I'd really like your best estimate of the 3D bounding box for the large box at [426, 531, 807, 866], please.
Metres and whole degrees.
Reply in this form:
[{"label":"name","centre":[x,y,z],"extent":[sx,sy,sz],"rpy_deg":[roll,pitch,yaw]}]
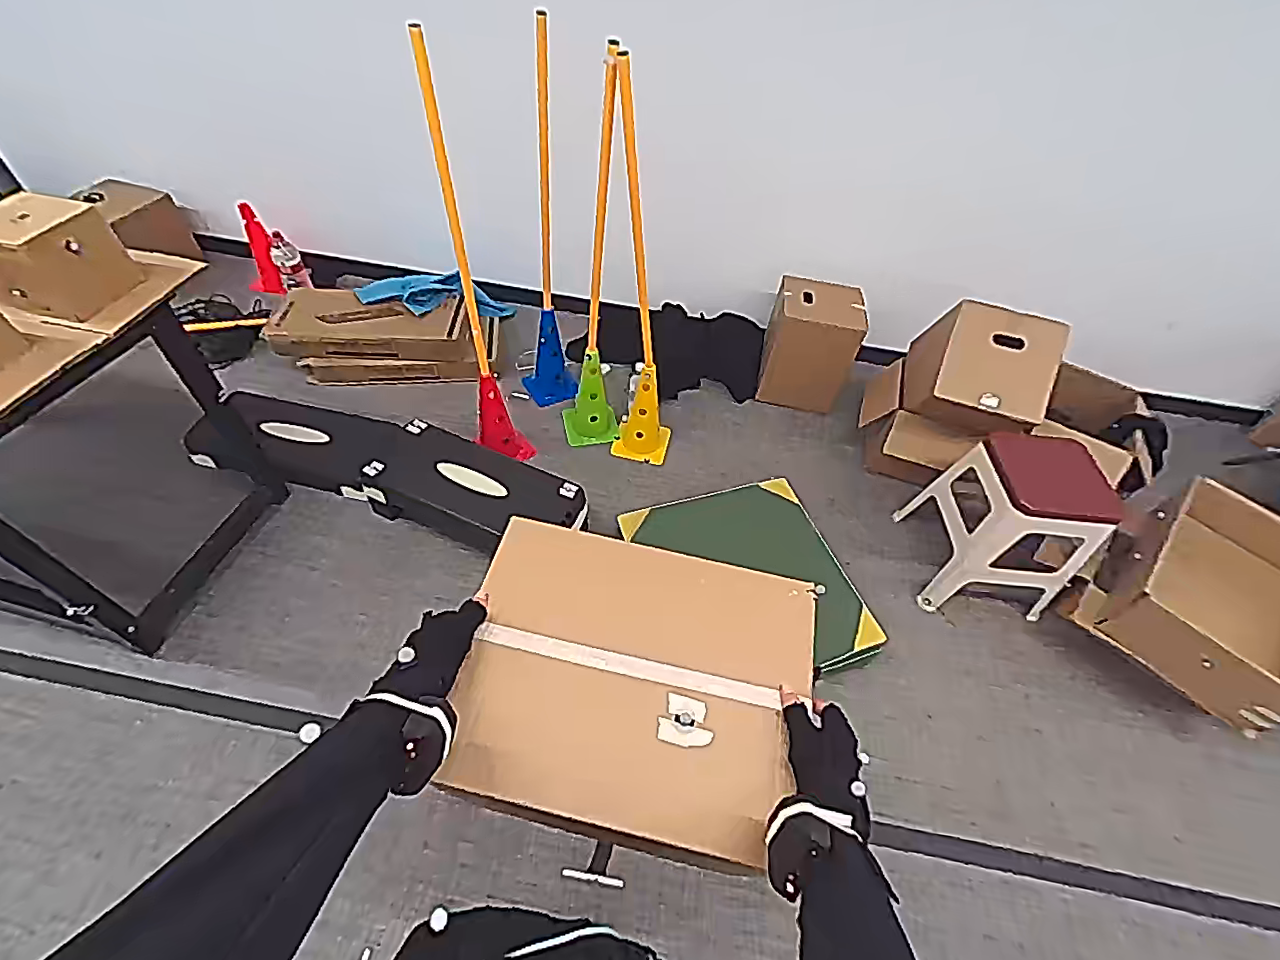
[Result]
[{"label":"large box","centre":[-0.016,0.312,0.756],"extent":[0.408,0.320,0.320],"rpy_deg":[12,55,3]}]
